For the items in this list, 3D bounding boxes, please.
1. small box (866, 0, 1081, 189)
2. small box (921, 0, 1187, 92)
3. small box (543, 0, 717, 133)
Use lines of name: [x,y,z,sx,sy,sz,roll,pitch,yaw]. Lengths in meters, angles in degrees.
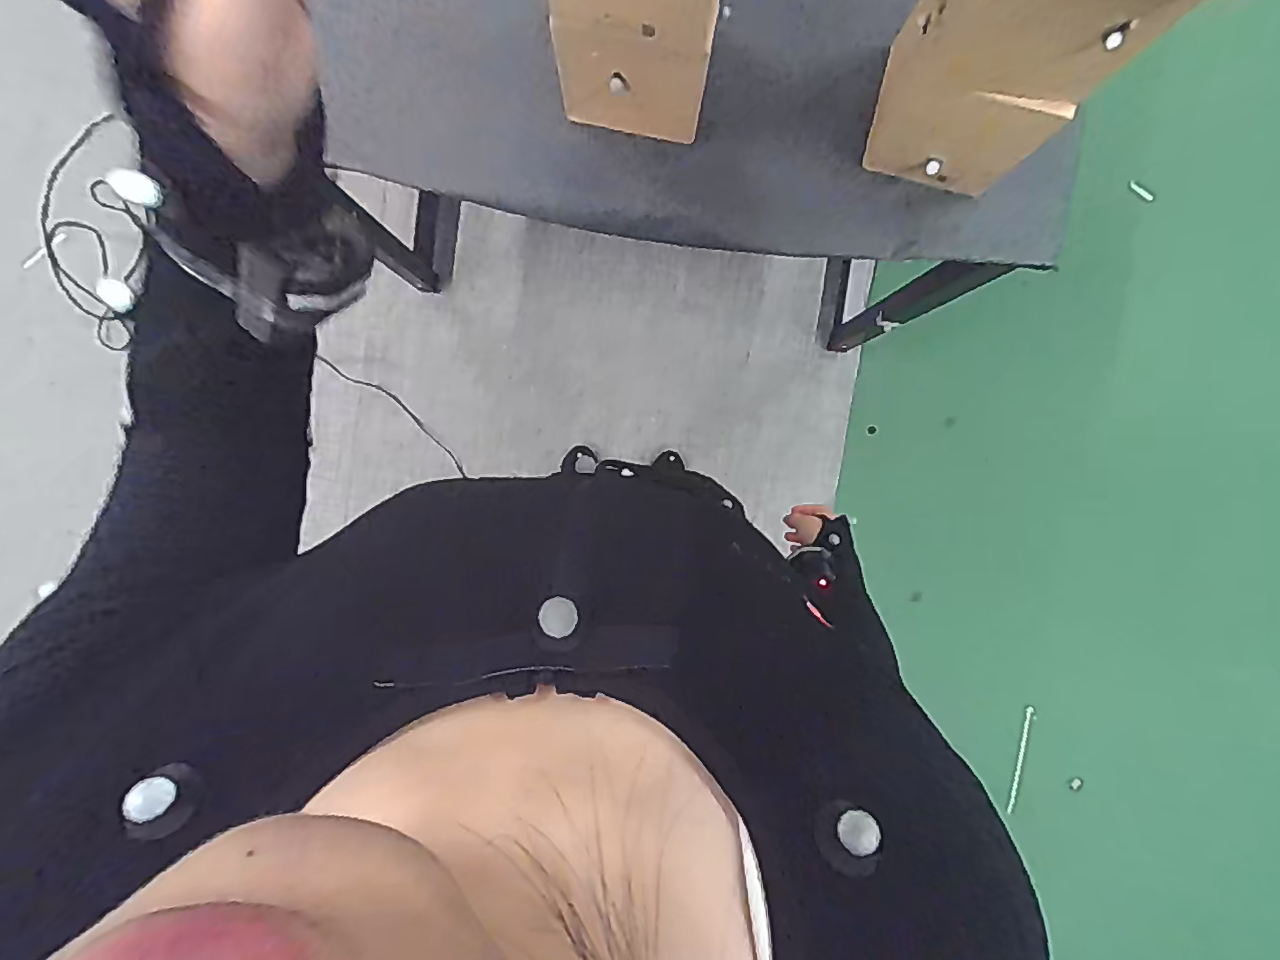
small box: [0.397,-0.492,0.647,0.168,0.176,0.179,14,91,0]
small box: [0.388,-0.491,0.485,0.179,0.176,0.168,6,89,1]
small box: [-0.002,-0.552,0.644,0.179,0.176,0.168,11,92,0]
